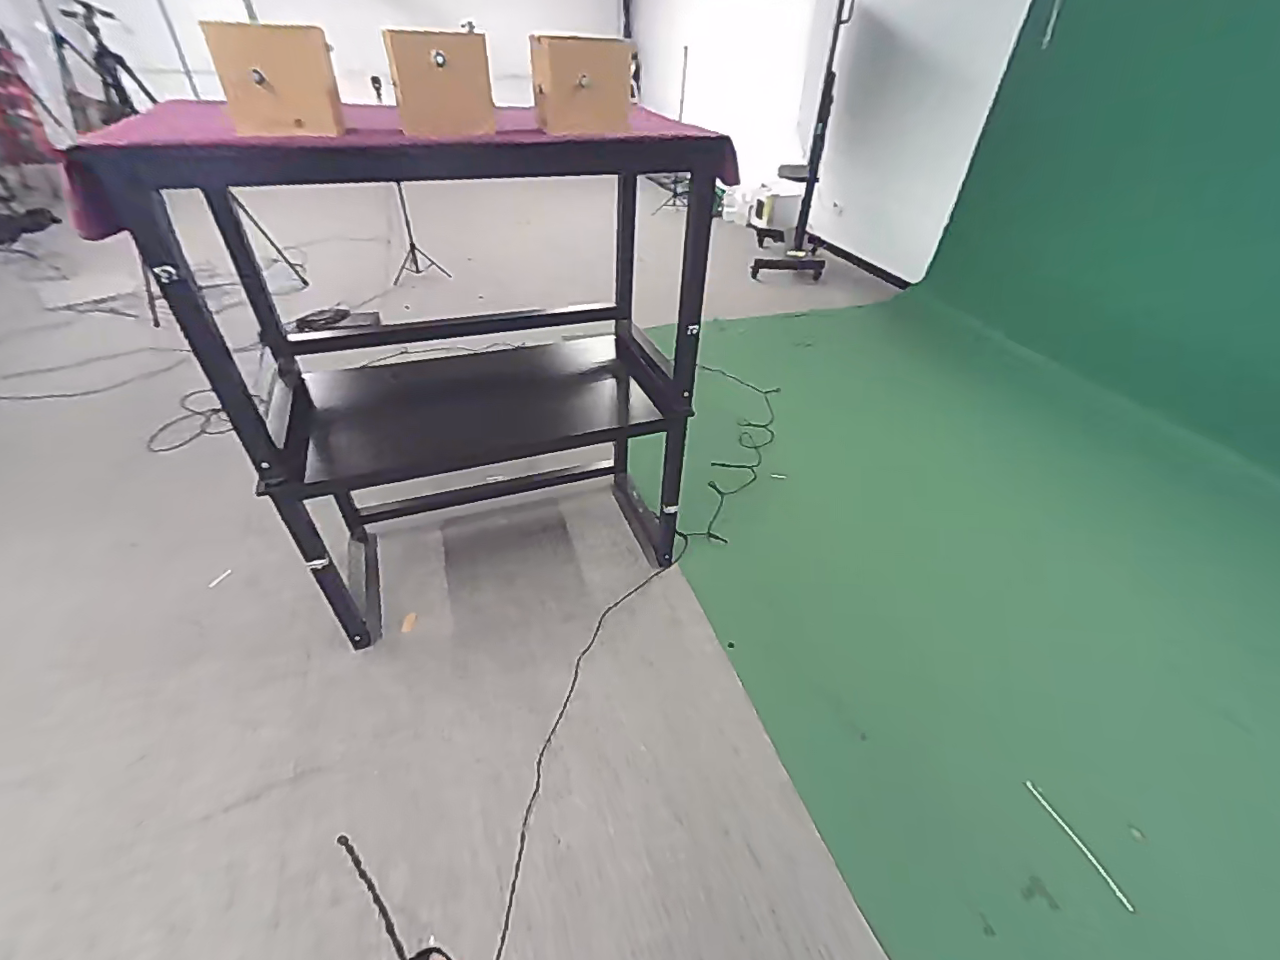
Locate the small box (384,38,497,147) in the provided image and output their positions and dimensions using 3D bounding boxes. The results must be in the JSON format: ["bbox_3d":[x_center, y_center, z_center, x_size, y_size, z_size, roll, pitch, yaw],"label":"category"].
[{"bbox_3d":[-0.401,-0.782,1.095,0.179,0.176,0.168,-13,41,-19],"label":"small box"}]

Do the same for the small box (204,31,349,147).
[{"bbox_3d":[-0.663,-0.731,1.015,0.168,0.176,0.179,-10,39,-15],"label":"small box"}]

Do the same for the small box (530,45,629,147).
[{"bbox_3d":[-0.128,-0.833,1.173,0.179,0.176,0.168,-13,43,-17],"label":"small box"}]
